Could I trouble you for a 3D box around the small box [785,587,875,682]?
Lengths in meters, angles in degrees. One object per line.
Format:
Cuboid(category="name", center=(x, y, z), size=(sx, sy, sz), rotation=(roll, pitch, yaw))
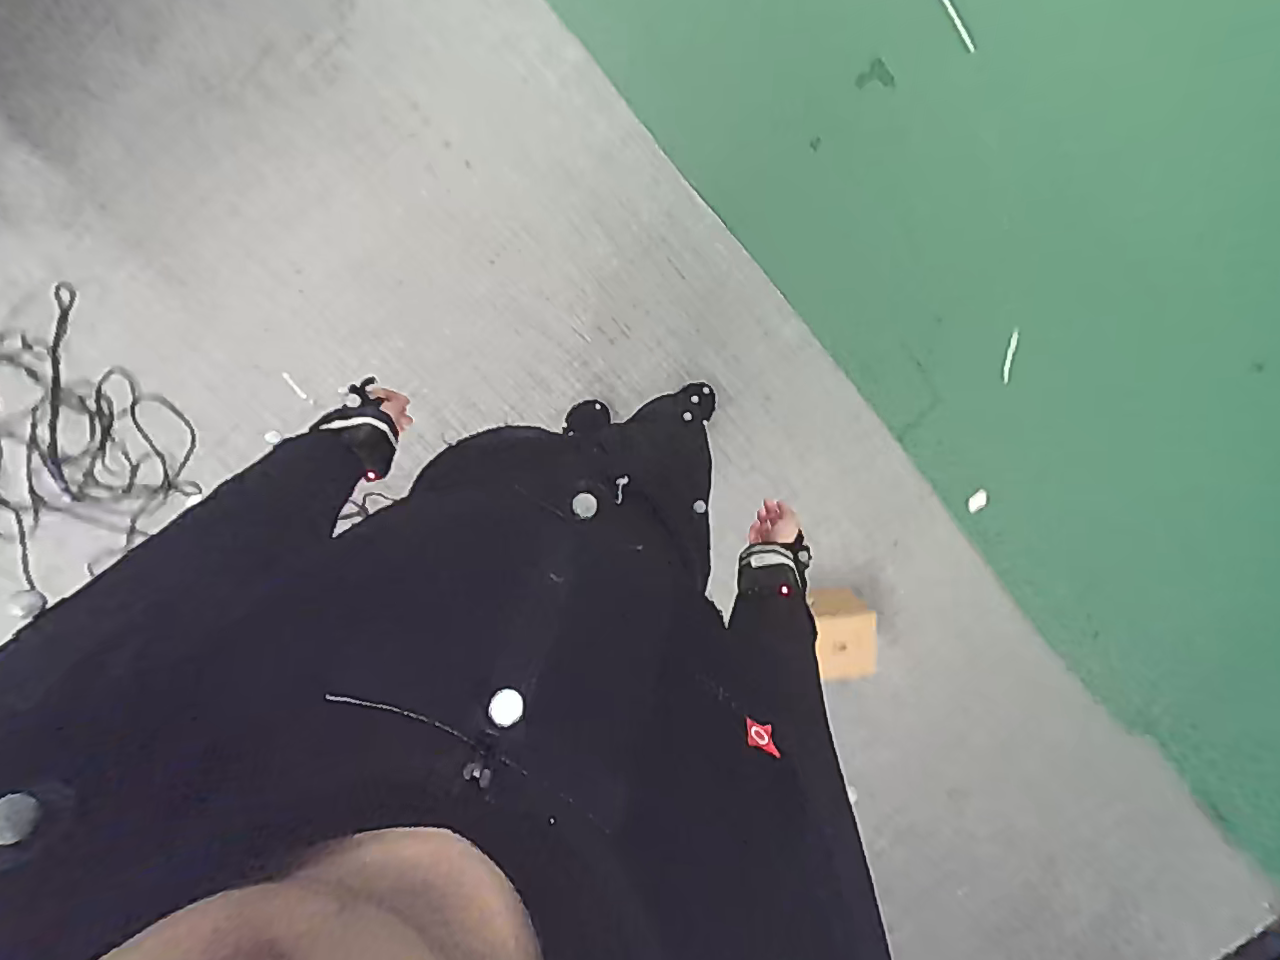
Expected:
Cuboid(category="small box", center=(0.475, 0.386, 1.373), size=(0.179, 0.176, 0.168), rotation=(-6, 103, -2))
